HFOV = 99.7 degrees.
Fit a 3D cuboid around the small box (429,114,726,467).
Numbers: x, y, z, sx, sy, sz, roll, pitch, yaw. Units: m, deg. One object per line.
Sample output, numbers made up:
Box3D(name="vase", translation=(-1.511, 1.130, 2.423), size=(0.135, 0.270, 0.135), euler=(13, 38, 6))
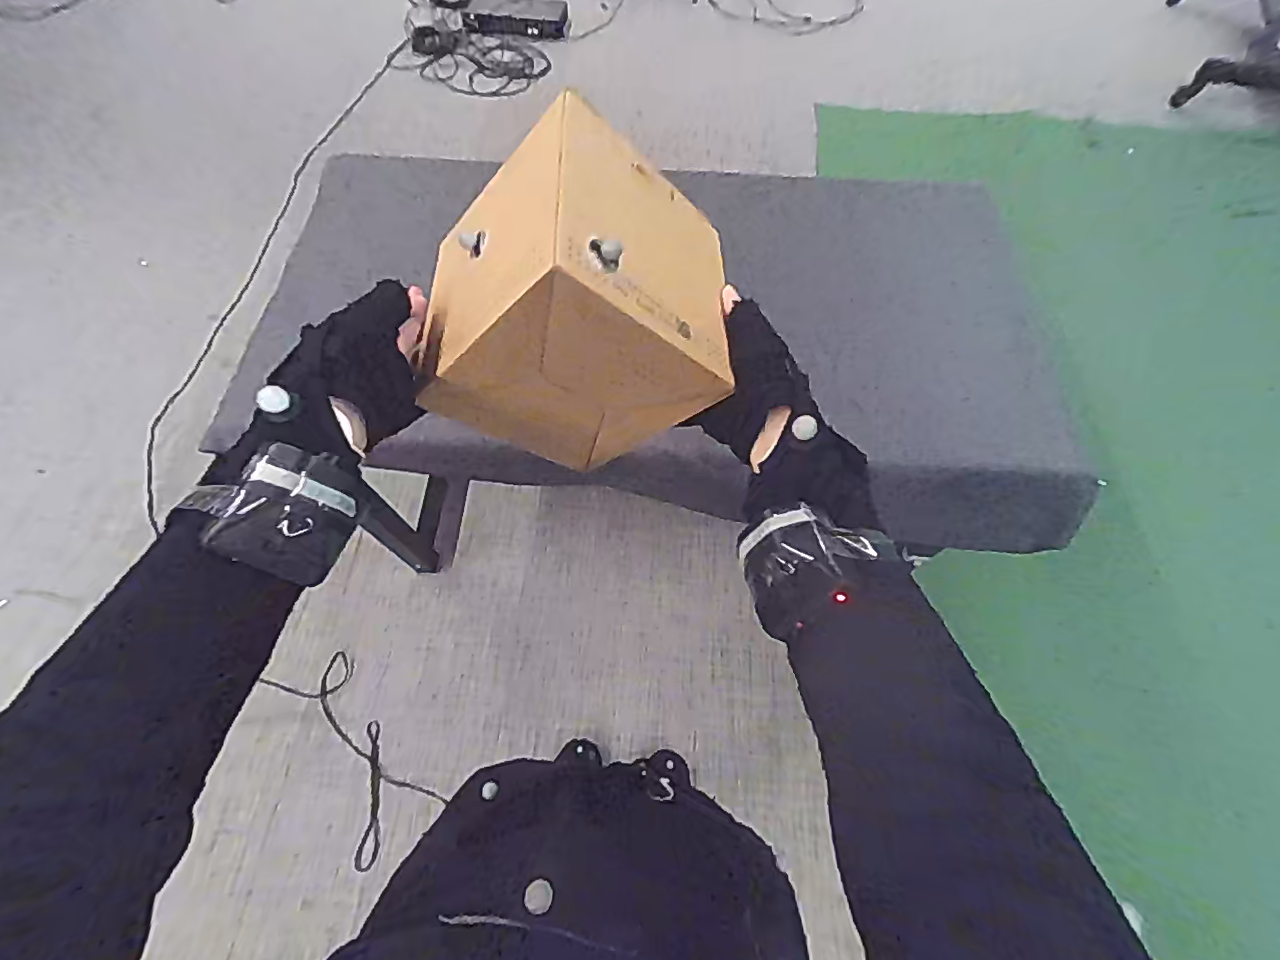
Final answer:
Box3D(name="small box", translation=(-0.048, -0.129, 0.438), size=(0.179, 0.168, 0.176), euler=(-25, 55, 38))
